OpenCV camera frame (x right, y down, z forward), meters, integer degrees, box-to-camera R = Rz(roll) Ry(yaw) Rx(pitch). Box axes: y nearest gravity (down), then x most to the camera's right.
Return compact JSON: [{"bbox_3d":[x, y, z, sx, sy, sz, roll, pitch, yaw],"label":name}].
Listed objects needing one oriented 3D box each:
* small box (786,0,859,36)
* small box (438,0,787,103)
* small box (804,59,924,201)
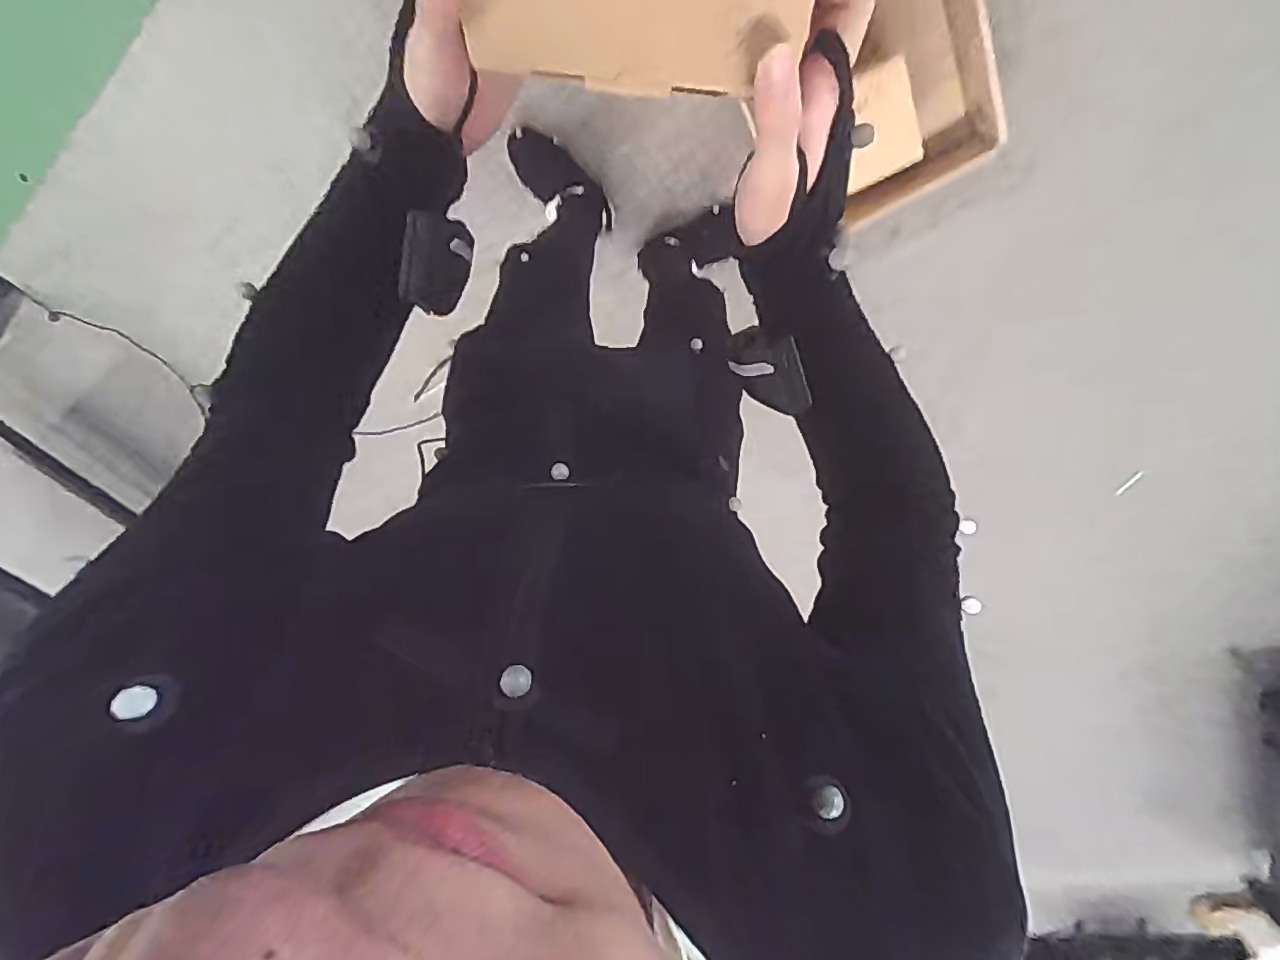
[{"bbox_3d":[0.285,-0.788,0.784,0.179,0.176,0.168,-25,121,26],"label":"small box"},{"bbox_3d":[0.000,-0.311,0.242,0.168,0.176,0.179,8,148,4],"label":"small box"},{"bbox_3d":[0.430,-0.683,1.052,0.168,0.176,0.179,-19,122,22],"label":"small box"}]
